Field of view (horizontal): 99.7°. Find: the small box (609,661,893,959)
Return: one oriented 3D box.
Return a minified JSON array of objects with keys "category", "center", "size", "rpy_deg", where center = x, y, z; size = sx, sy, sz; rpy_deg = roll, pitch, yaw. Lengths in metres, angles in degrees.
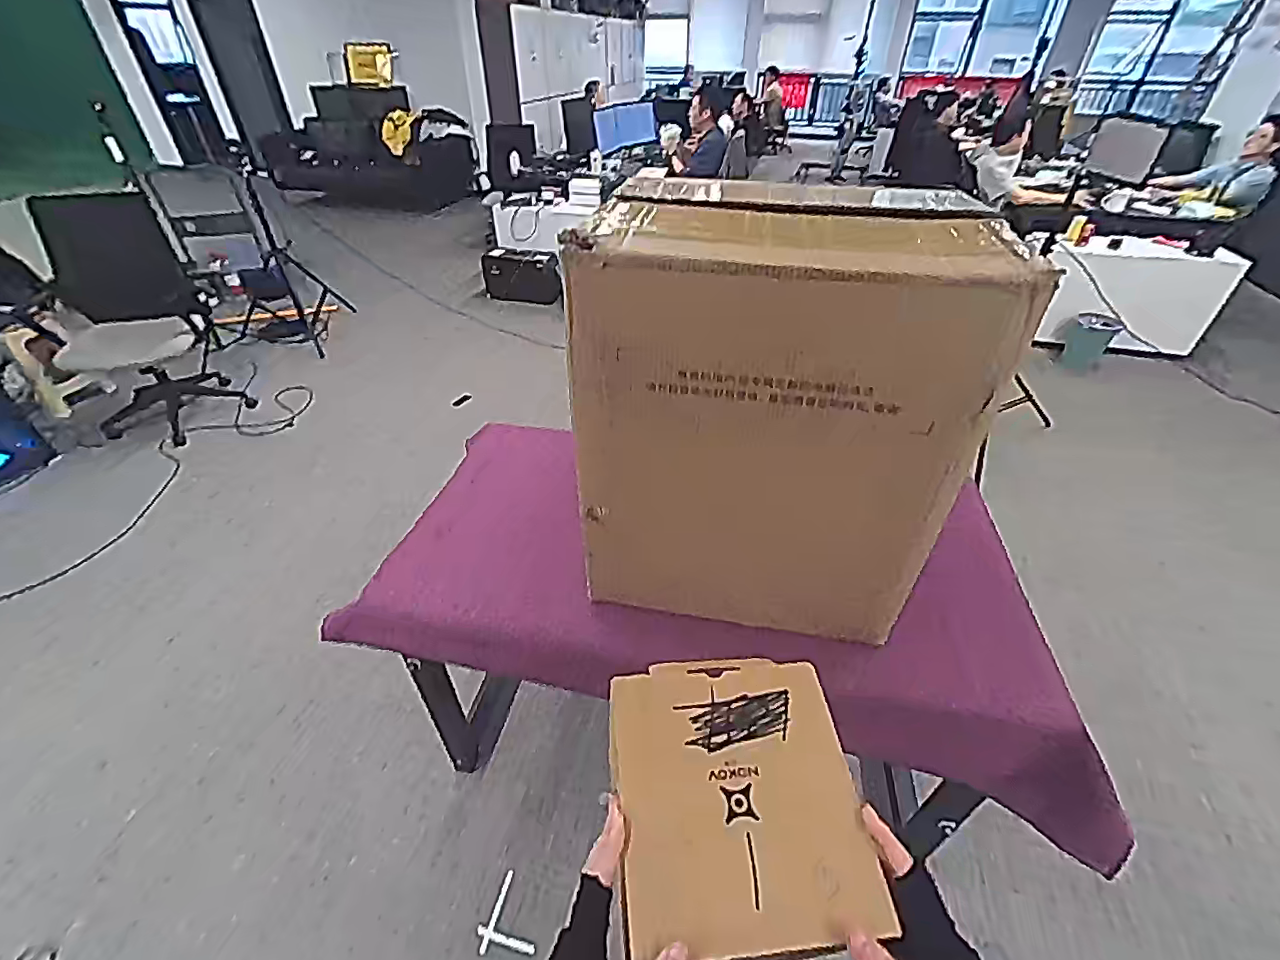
[{"category":"small box","center":[0.061,0.268,0.432],"size":[0.168,0.176,0.179],"rpy_deg":[-3,46,-6]}]
